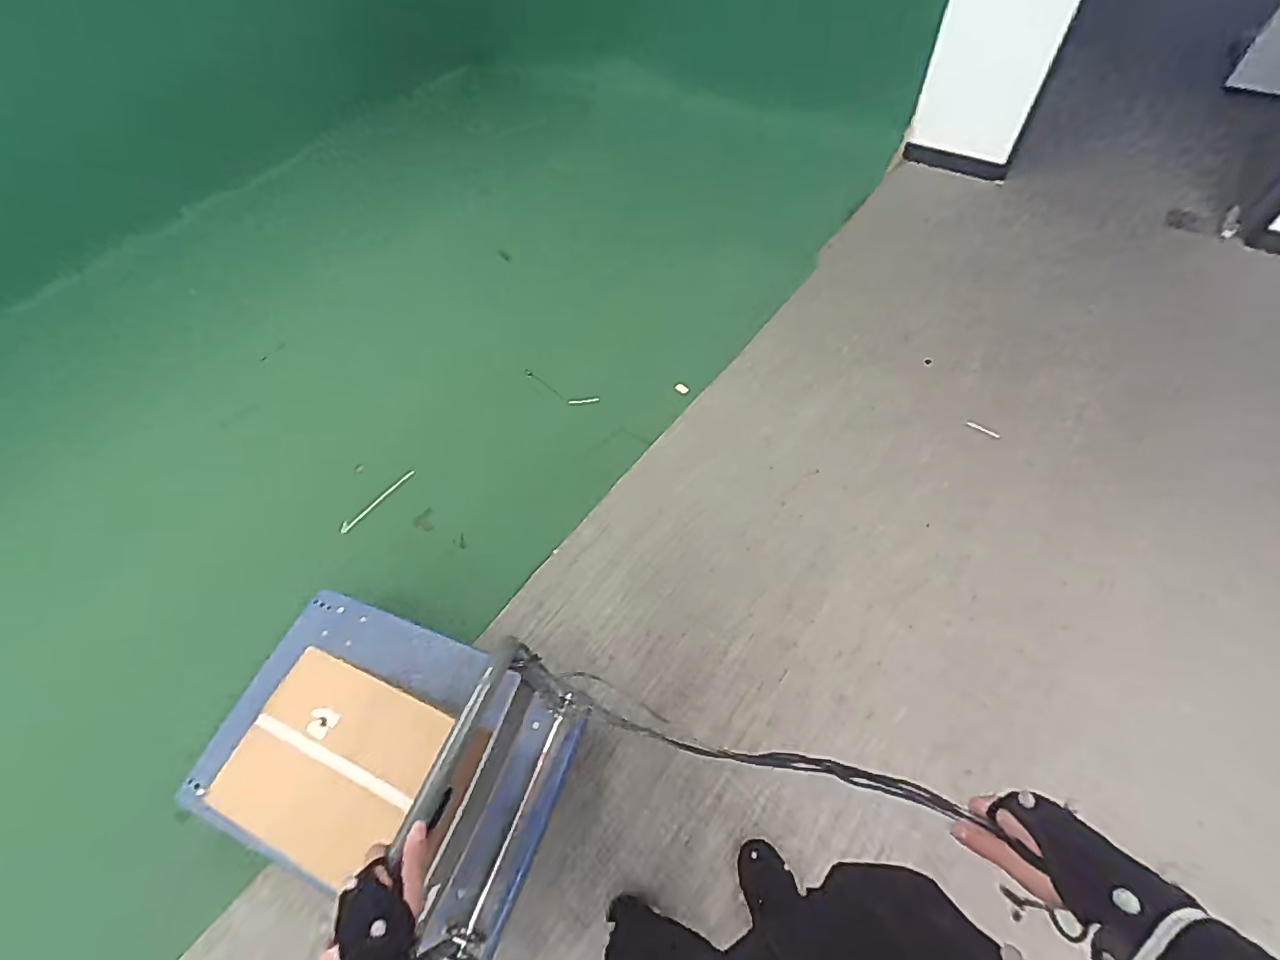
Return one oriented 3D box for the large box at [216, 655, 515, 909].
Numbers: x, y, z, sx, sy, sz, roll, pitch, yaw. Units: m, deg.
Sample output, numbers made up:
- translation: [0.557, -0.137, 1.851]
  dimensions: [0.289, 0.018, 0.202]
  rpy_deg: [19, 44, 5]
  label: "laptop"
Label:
- translation: [-0.548, 0.626, 1.158]
  dimensions: [0.408, 0.320, 0.320]
  rpy_deg: [18, 62, 18]
  label: "large box"
